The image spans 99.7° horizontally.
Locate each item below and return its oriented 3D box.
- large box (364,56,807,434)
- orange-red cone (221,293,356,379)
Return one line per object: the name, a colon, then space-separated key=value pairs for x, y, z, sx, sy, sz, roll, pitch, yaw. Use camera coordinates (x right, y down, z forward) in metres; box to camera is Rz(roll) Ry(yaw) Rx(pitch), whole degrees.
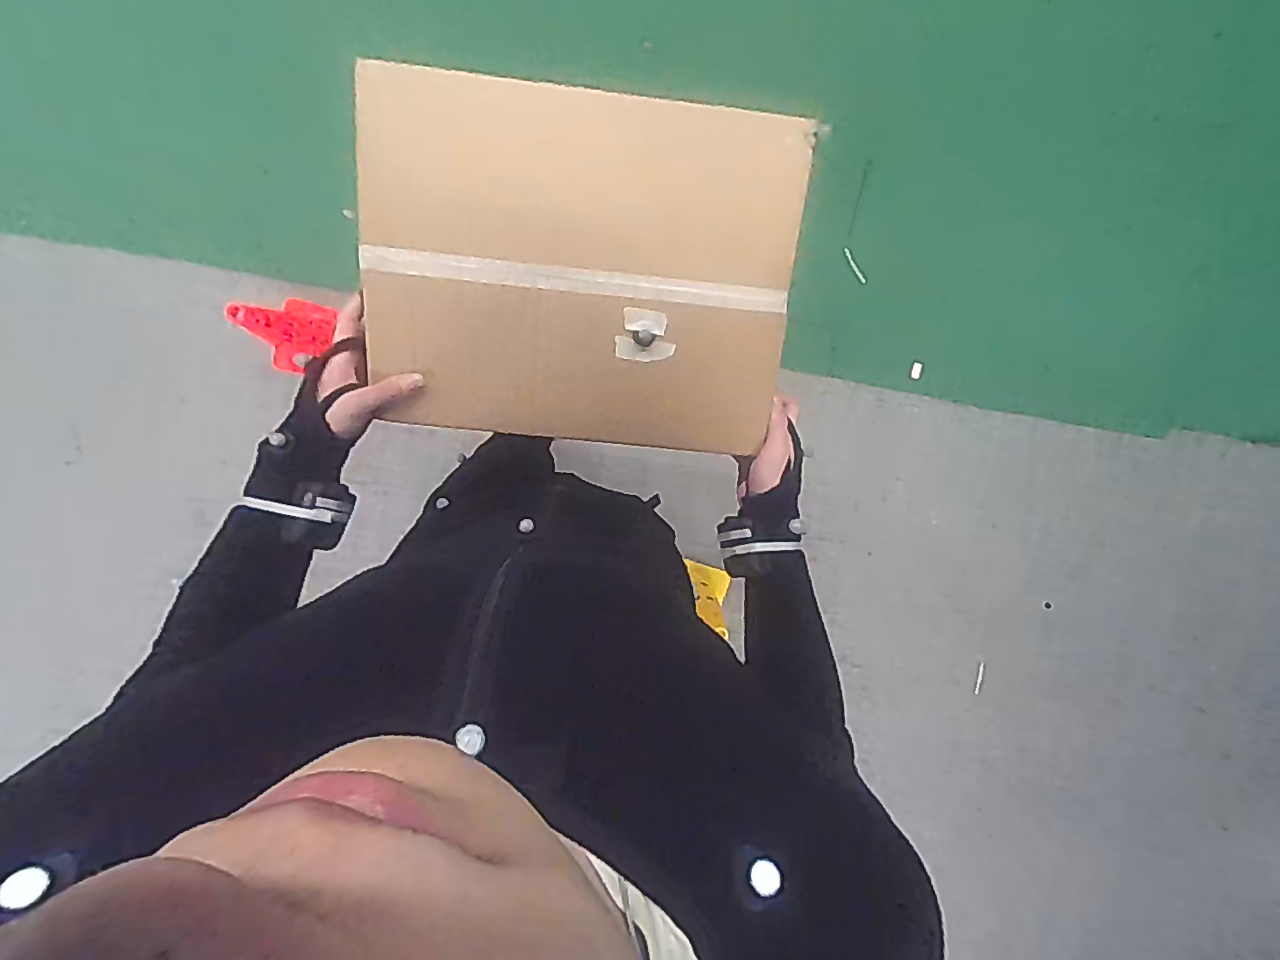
large box: x=-0.065 y=-0.250 z=0.665 sx=0.408 sy=0.320 sz=0.320 roll=5 pitch=107 yaw=-4
orange-red cone: x=-0.884 y=-0.382 z=1.312 sx=0.199 sy=0.360 sz=0.198 roll=16 pitch=92 yaw=-6
